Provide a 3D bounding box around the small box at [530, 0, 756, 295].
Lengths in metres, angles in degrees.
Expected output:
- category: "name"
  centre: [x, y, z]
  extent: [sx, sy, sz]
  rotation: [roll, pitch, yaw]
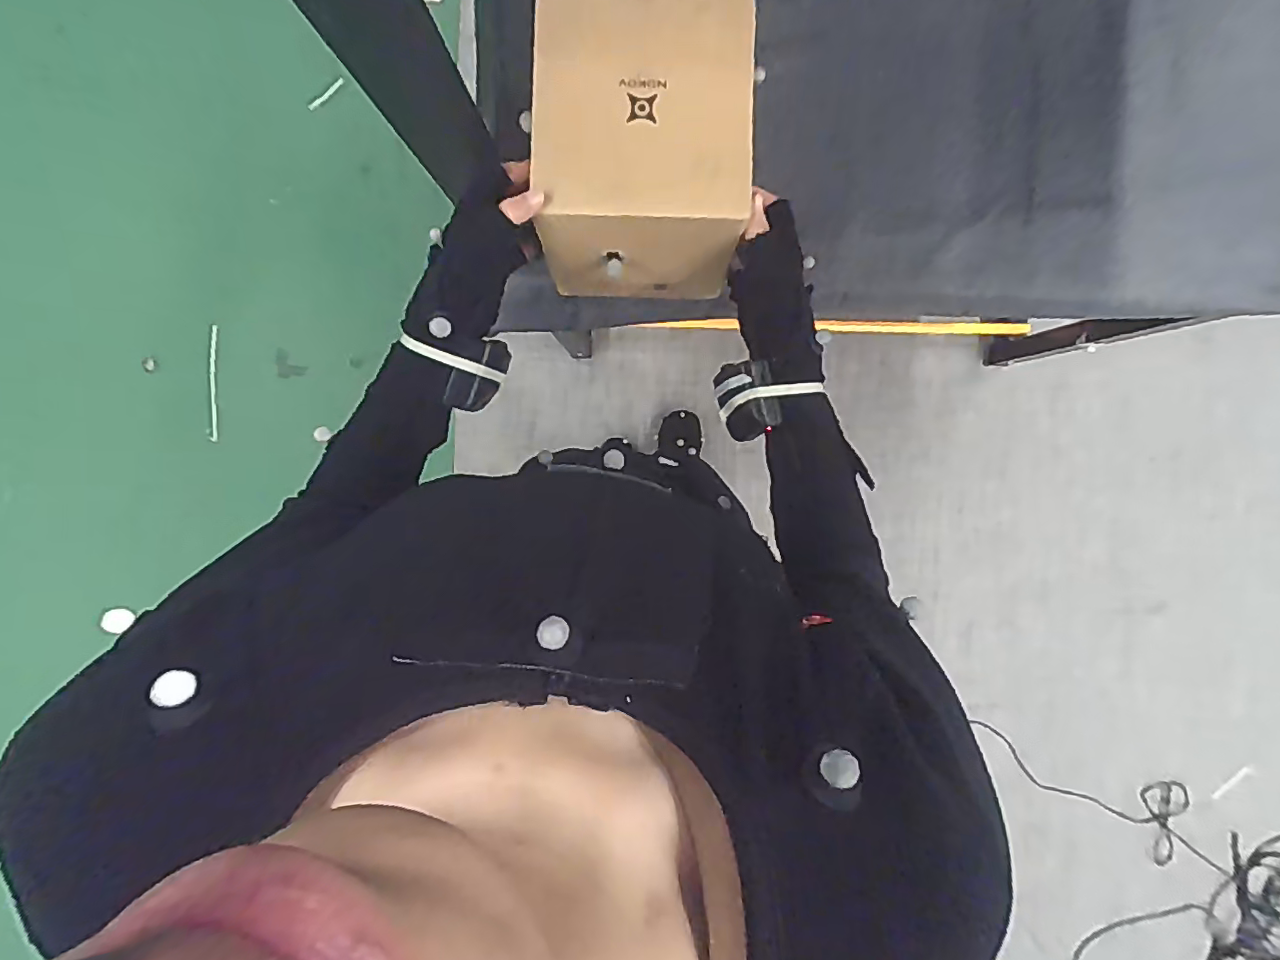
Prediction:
- category: "small box"
  centre: [0.004, -0.277, 0.477]
  extent: [0.168, 0.176, 0.179]
  rotation: [1, 86, 0]
